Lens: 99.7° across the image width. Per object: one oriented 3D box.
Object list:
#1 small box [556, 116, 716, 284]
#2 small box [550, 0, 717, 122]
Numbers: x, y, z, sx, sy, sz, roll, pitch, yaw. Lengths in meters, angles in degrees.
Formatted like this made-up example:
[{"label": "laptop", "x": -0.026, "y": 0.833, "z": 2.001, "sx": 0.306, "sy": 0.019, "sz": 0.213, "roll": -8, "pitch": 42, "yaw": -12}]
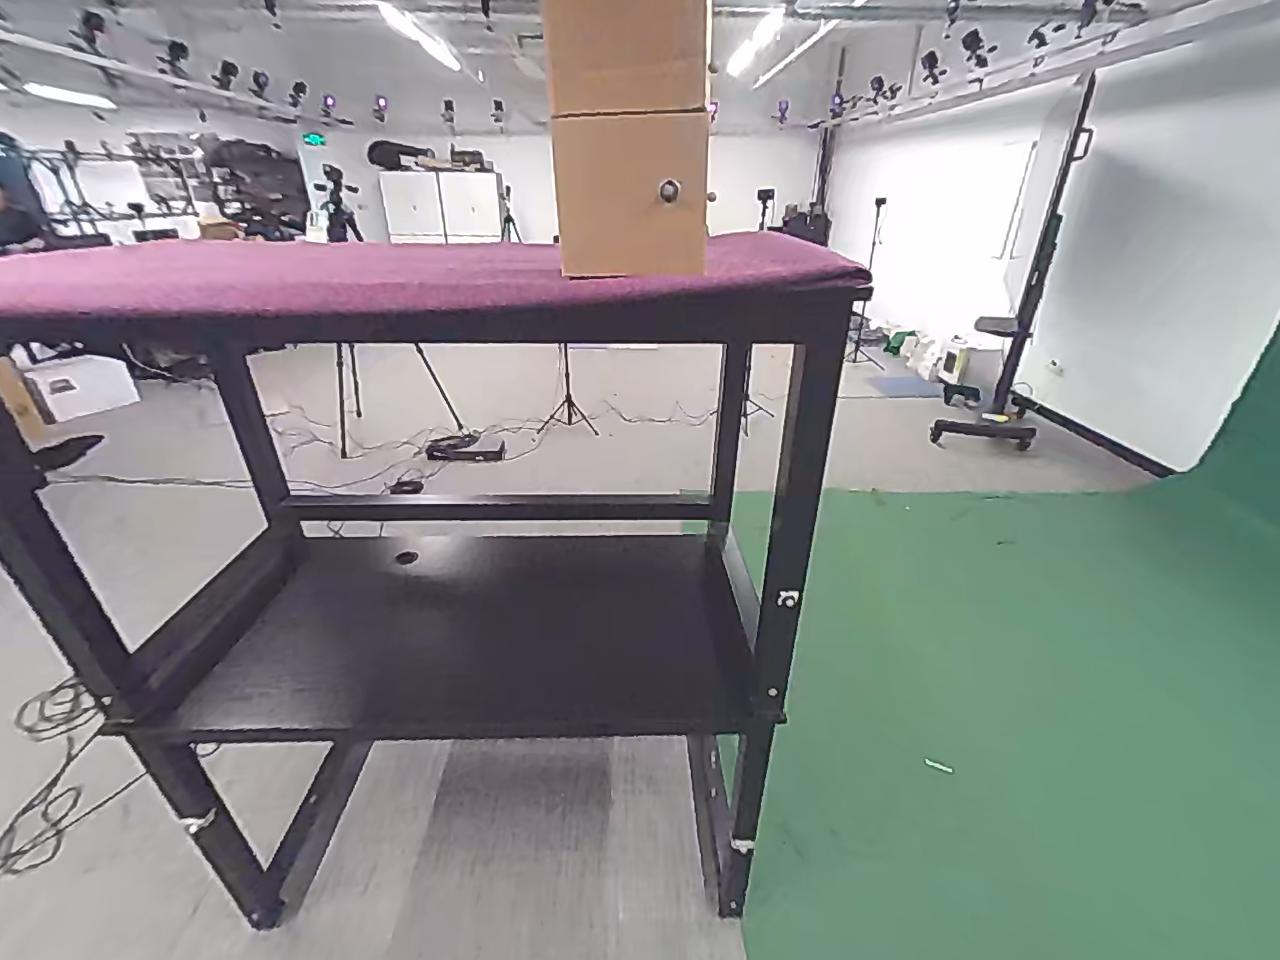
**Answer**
[{"label": "small box", "x": 0.001, "y": -0.348, "z": 0.689, "sx": 0.179, "sy": 0.176, "sz": 0.168, "roll": 0, "pitch": 25, "yaw": 4}, {"label": "small box", "x": -0.002, "y": -0.498, "z": 0.626, "sx": 0.179, "sy": 0.176, "sz": 0.168, "roll": 3, "pitch": 25, "yaw": 6}]
